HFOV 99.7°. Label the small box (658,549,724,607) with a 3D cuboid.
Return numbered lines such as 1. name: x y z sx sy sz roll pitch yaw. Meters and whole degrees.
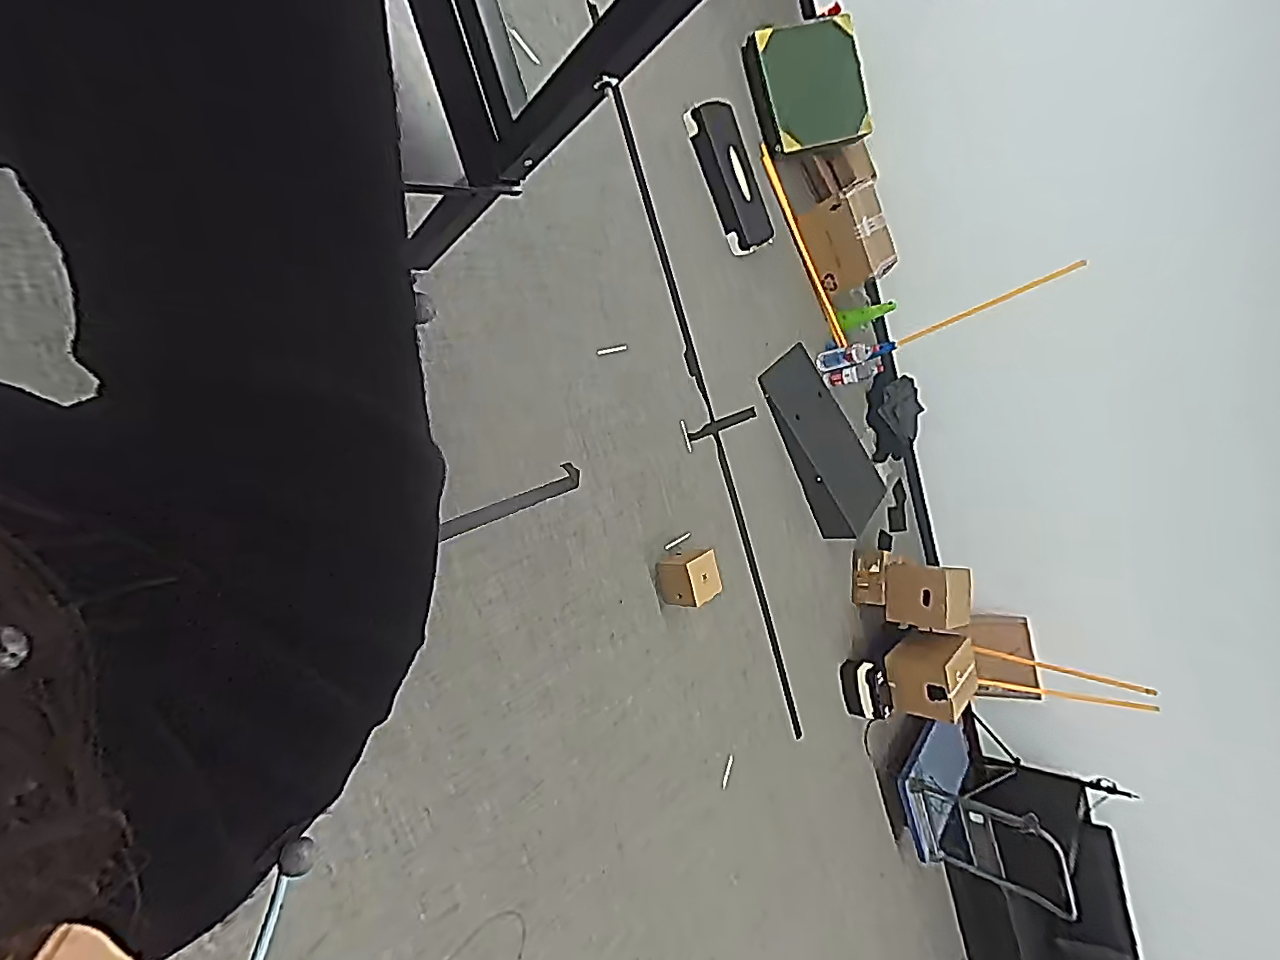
1. small box: 0.195 0.374 2.104 0.168 0.176 0.179 -21 99 -42
